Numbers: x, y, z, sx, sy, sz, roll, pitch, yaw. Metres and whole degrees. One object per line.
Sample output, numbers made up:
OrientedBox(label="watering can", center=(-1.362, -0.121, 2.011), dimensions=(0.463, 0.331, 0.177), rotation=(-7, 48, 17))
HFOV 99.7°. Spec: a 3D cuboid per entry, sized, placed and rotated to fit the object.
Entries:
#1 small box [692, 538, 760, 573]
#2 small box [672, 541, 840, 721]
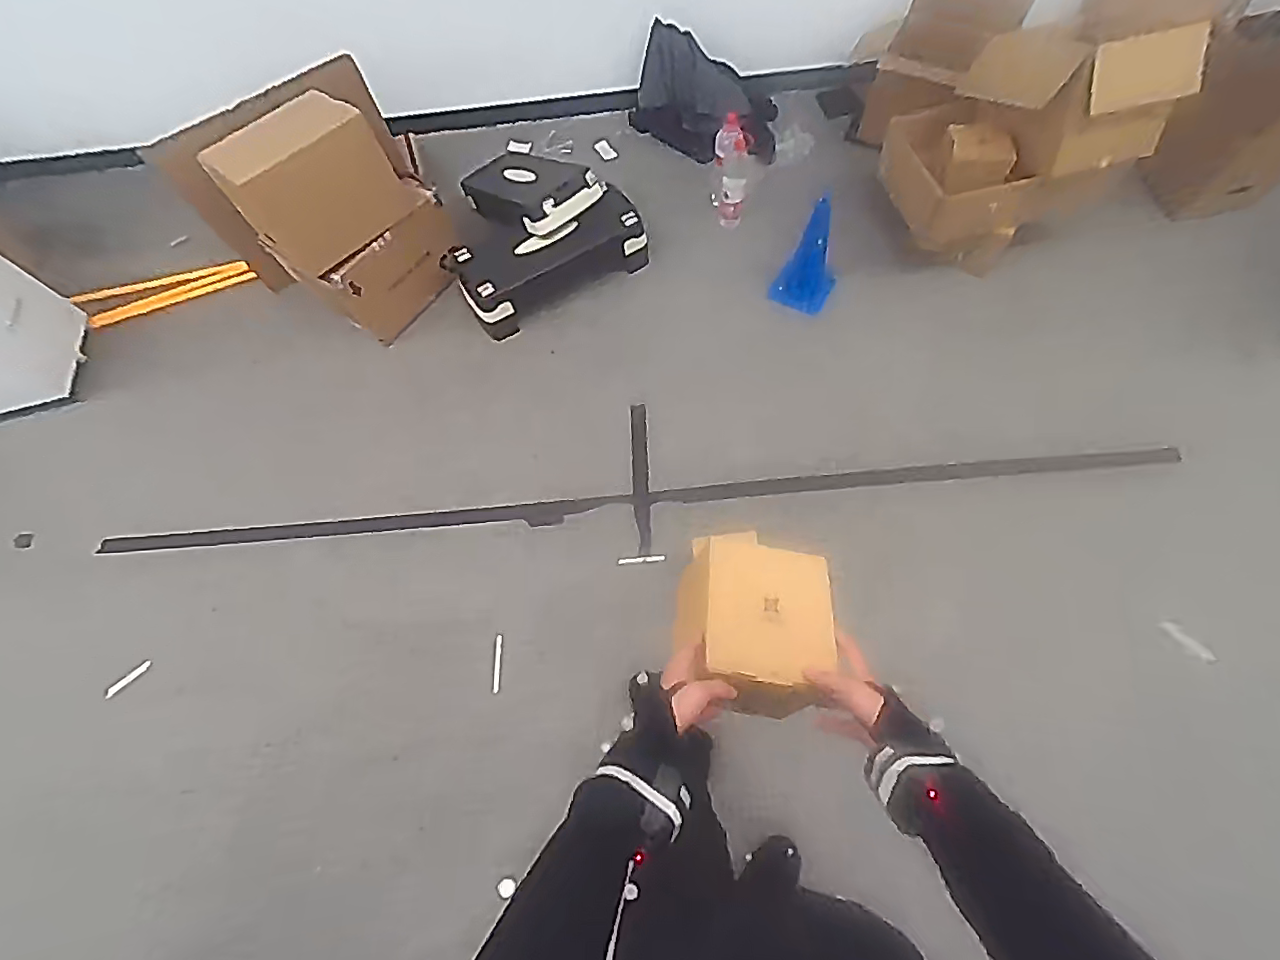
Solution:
OrientedBox(label="small box", center=(0.238, 0.267, 1.470), dimensions=(0.179, 0.176, 0.168), rotation=(-7, 65, 3))
OrientedBox(label="small box", center=(0.145, 0.209, 0.731), dimensions=(0.168, 0.176, 0.179), rotation=(12, 55, -6))
